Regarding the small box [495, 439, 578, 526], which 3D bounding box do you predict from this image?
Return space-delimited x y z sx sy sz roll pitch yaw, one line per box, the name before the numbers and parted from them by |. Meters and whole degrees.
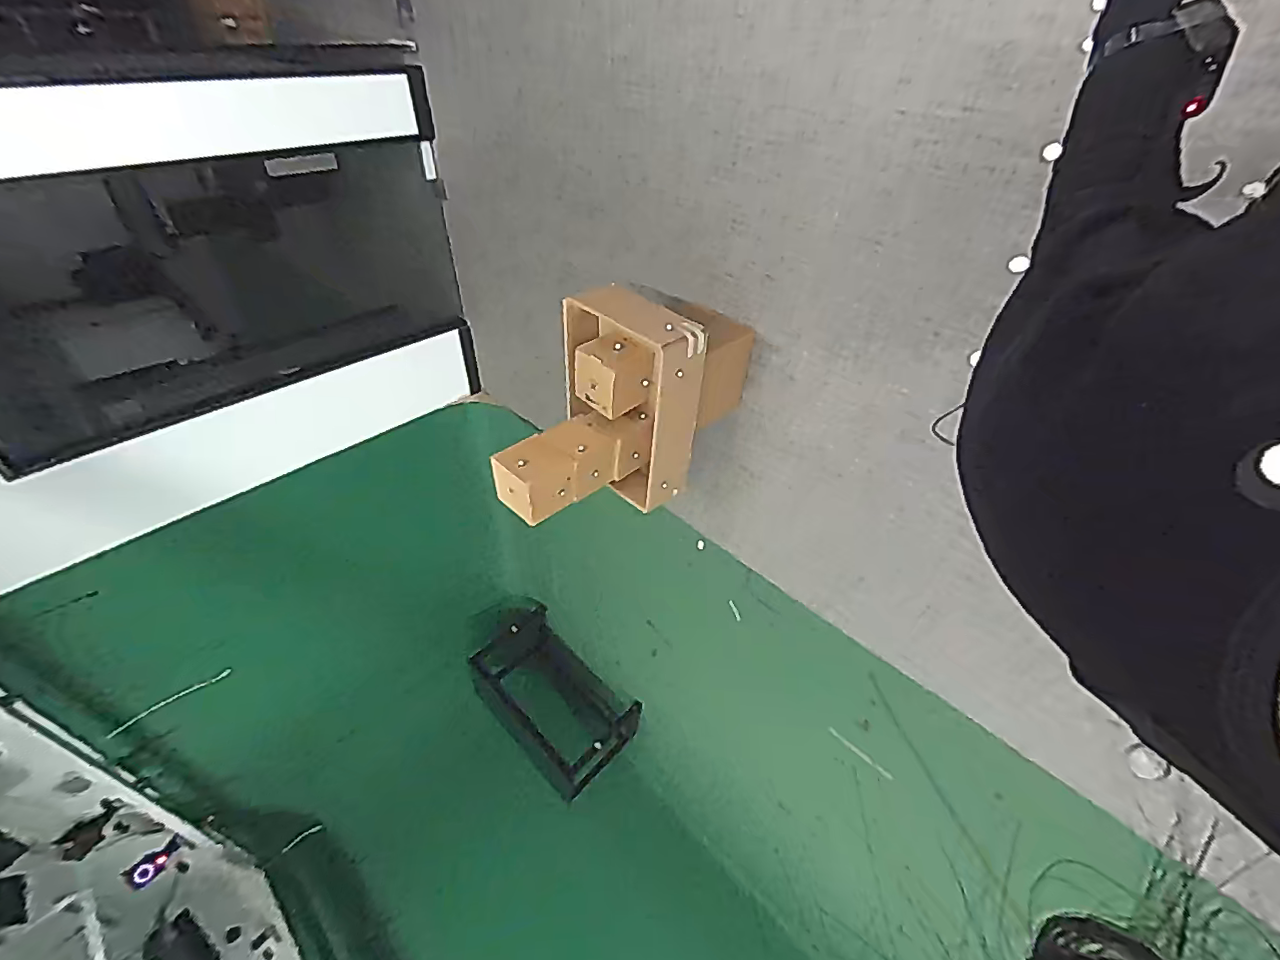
small box | -0.304 0.000 1.603 0.179 0.176 0.168 34 139 31
